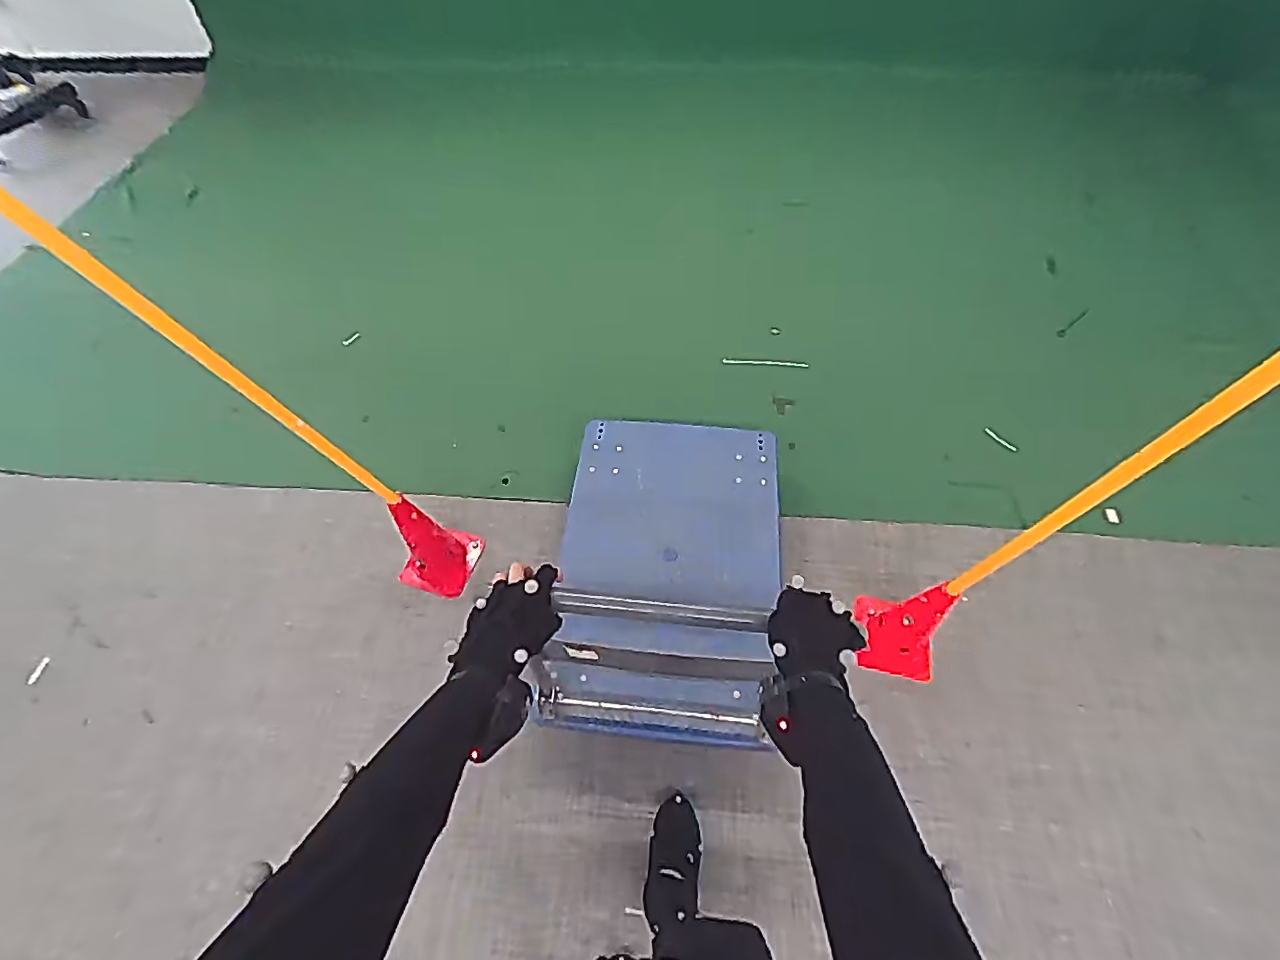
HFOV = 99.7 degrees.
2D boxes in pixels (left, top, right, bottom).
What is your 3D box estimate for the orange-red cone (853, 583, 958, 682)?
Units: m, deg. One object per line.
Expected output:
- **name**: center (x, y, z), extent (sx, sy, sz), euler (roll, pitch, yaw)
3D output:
- **orange-red cone**: center (0.675, 0.335, 1.312), extent (0.198, 0.360, 0.199), euler (12, 59, 10)
